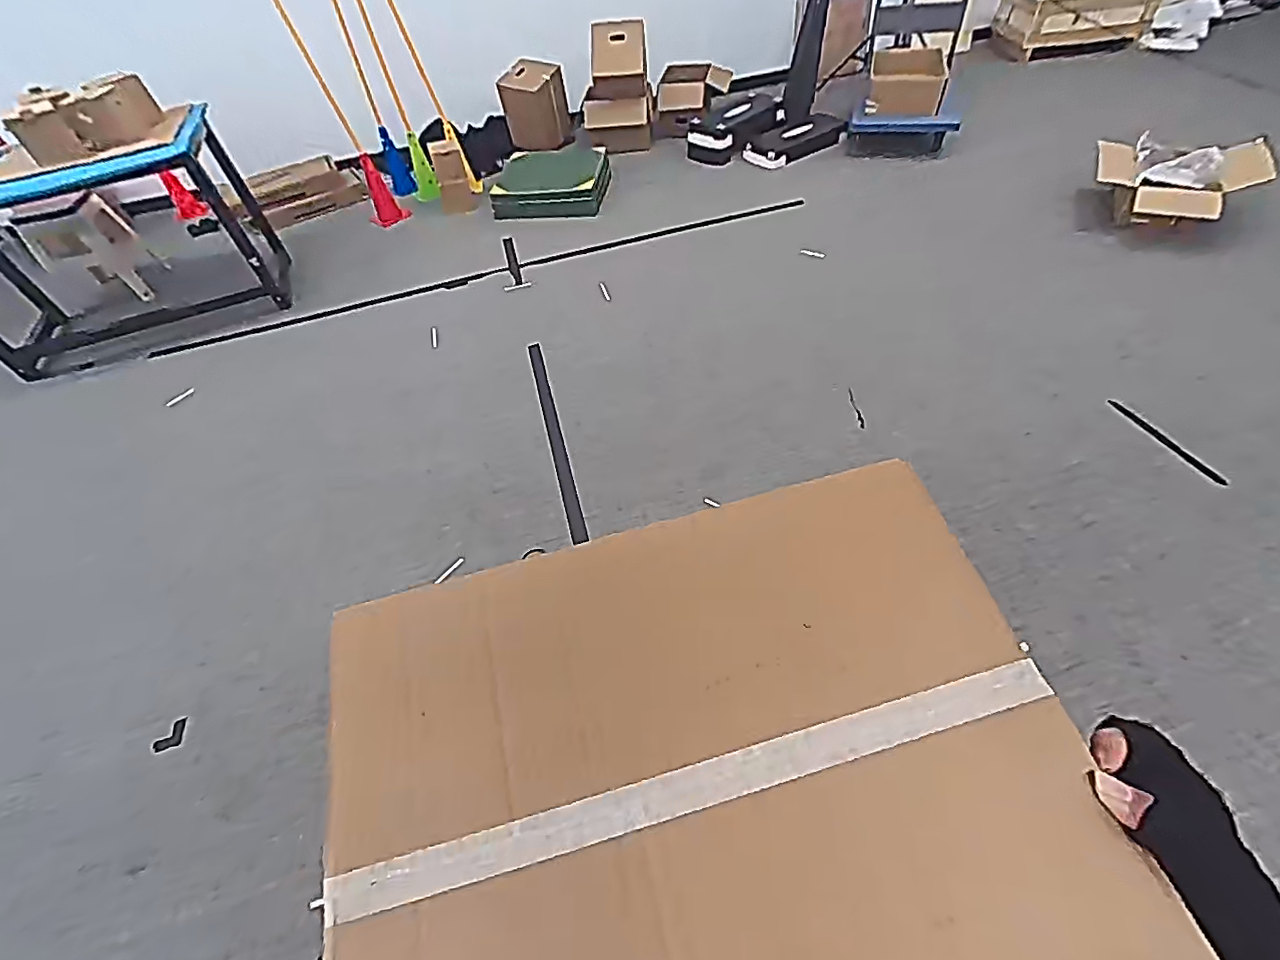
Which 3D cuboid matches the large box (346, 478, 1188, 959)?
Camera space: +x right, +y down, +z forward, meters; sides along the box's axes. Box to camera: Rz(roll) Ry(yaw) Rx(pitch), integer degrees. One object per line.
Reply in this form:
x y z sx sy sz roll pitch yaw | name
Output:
0.047 0.248 0.430 0.408 0.320 0.320 -15 60 -4 | large box
